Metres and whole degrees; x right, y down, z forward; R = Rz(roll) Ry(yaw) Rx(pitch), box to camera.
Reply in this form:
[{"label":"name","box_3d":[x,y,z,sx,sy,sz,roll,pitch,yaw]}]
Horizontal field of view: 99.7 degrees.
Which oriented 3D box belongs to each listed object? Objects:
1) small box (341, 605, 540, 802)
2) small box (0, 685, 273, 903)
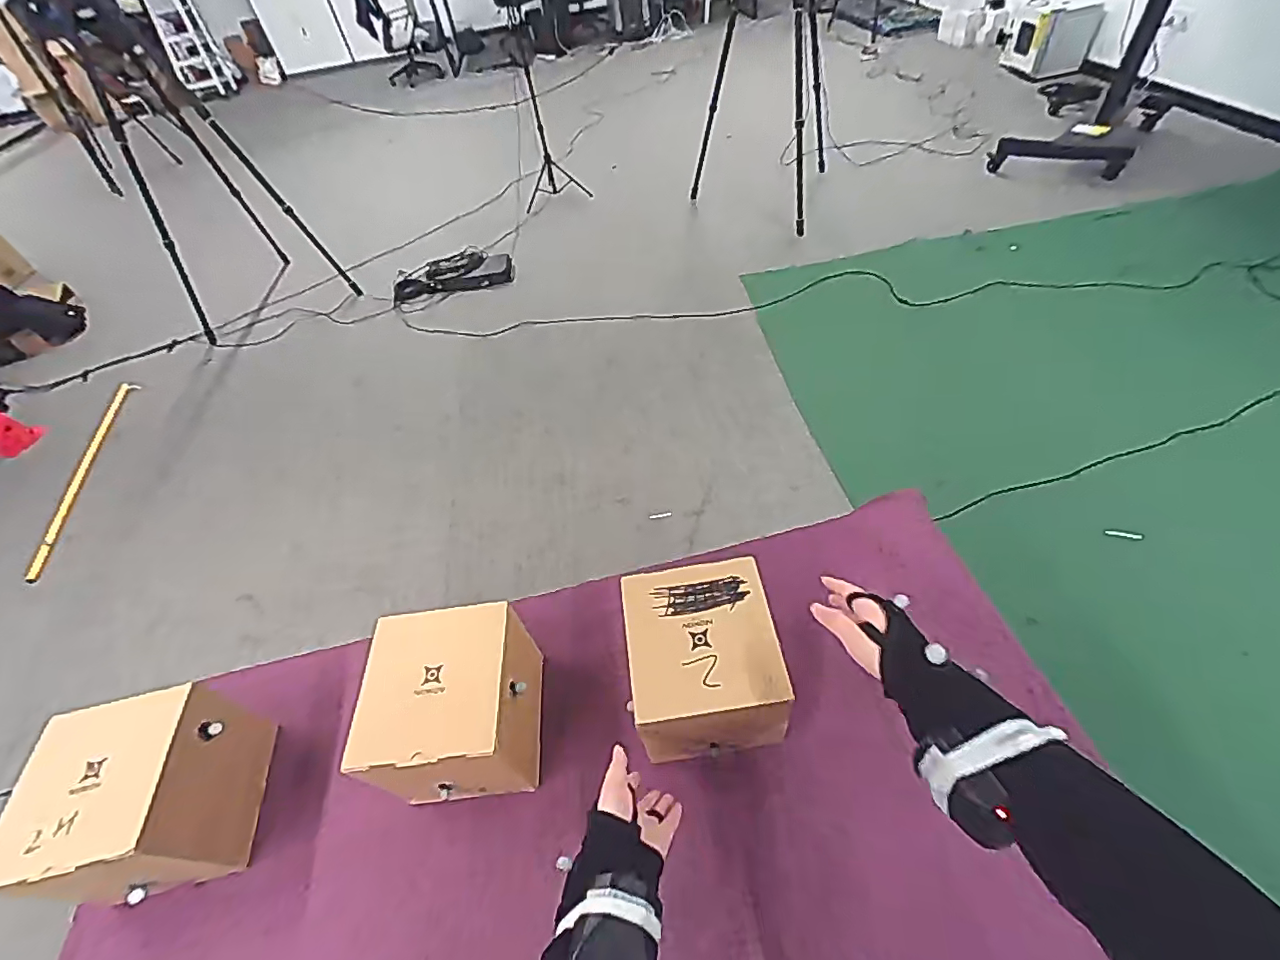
[{"label":"small box","box_3d":[-0.227,0.279,0.672,0.168,0.176,0.179,-8,50,3]},{"label":"small box","box_3d":[-0.581,0.375,0.644,0.168,0.176,0.179,-14,49,-2]}]
